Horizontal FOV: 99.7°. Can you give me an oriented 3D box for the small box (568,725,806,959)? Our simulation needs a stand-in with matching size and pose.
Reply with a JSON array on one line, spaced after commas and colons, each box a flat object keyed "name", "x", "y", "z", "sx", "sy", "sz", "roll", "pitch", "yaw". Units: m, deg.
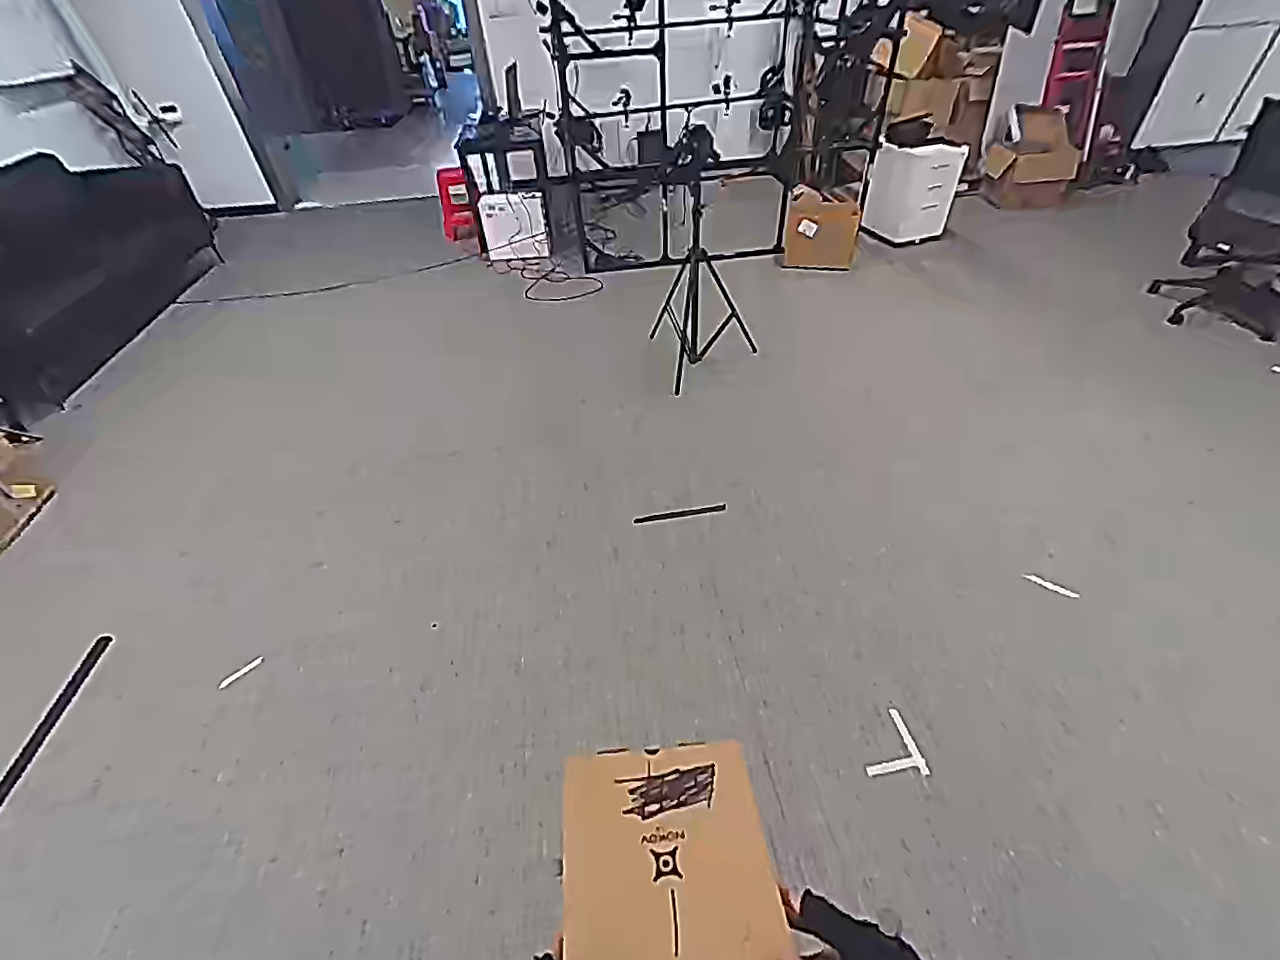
[{"name": "small box", "x": 0.022, "y": 0.348, "z": 0.475, "sx": 0.168, "sy": 0.176, "sz": 0.179, "roll": -3, "pitch": 34, "yaw": -6}]
